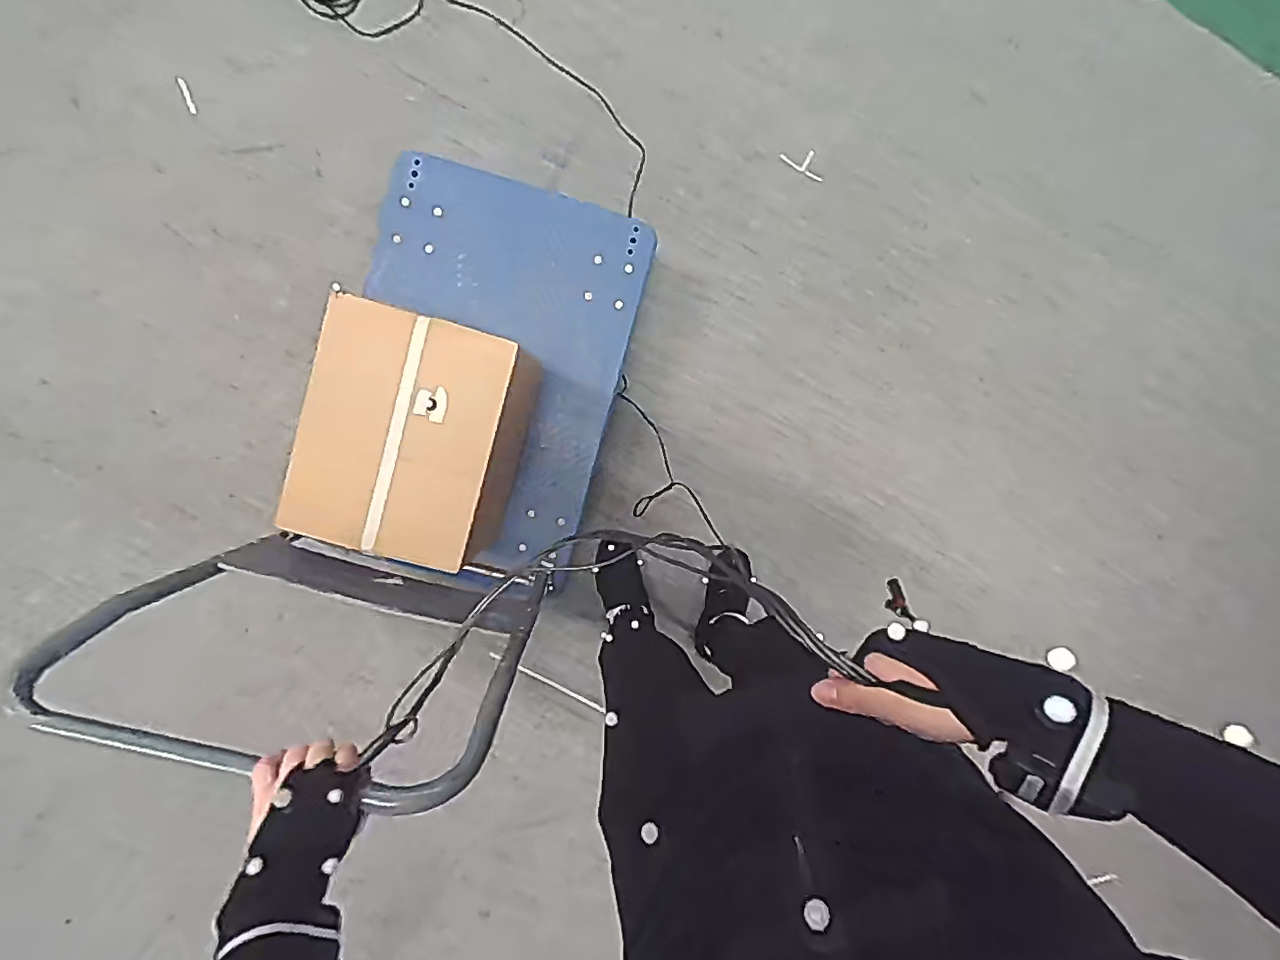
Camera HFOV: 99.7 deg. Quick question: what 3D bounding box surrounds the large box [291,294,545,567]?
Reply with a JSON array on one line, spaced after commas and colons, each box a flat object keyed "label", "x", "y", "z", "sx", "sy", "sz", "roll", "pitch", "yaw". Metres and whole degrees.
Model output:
[{"label": "large box", "x": -0.398, "y": -0.085, "z": 1.049, "sx": 0.320, "sy": 0.320, "sz": 0.408, "roll": 15, "pitch": 93, "yaw": -4}]
